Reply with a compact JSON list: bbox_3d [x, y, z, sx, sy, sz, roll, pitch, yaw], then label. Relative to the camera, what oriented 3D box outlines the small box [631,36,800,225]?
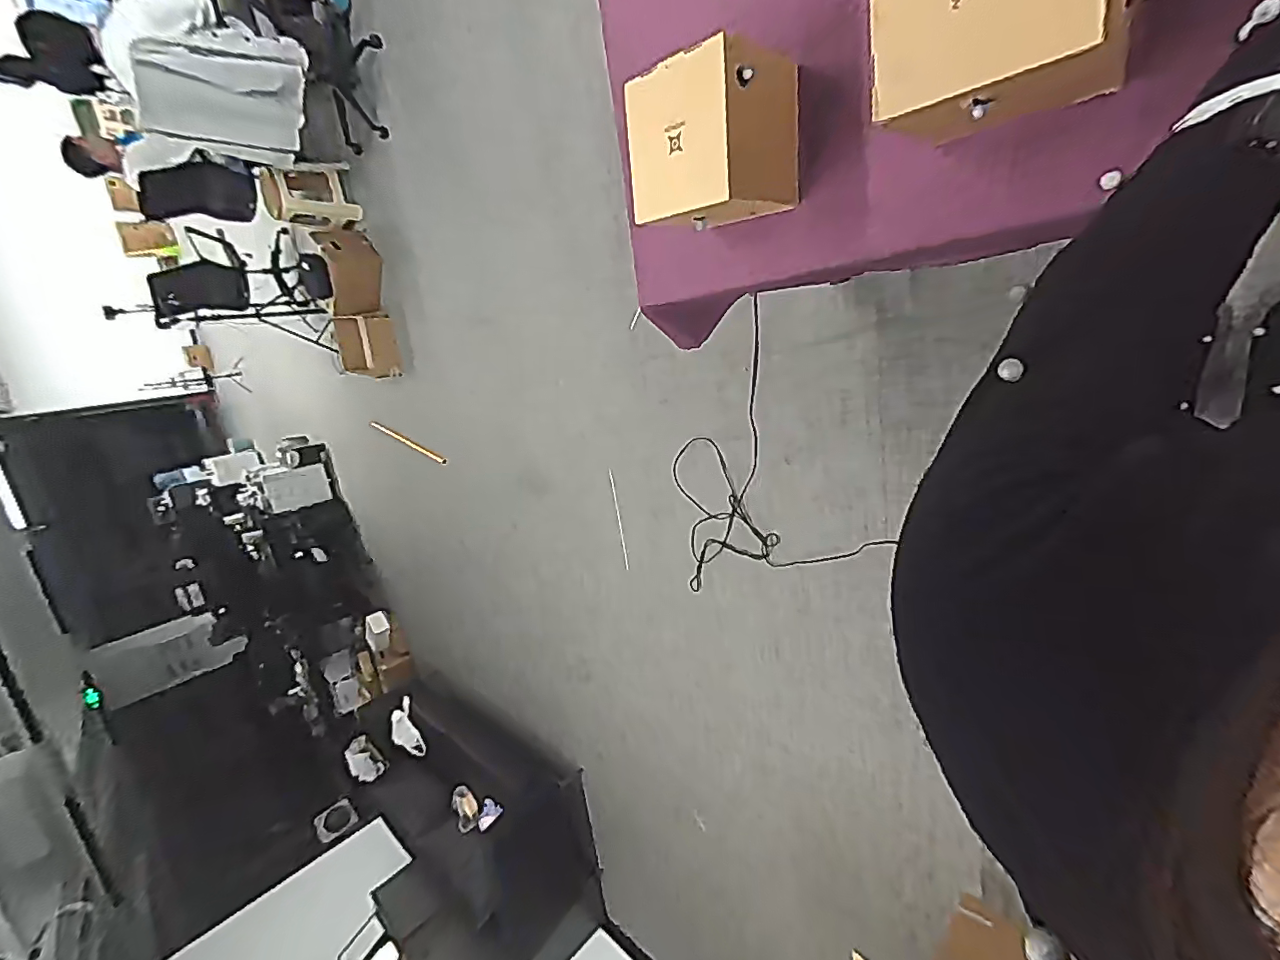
[{"bbox_3d":[0.108,-0.460,0.749,0.168,0.176,0.179,12,113,44],"label":"small box"}]

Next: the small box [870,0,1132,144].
[{"bbox_3d":[0.339,-0.439,0.508,0.179,0.176,0.168,10,112,44],"label":"small box"}]
